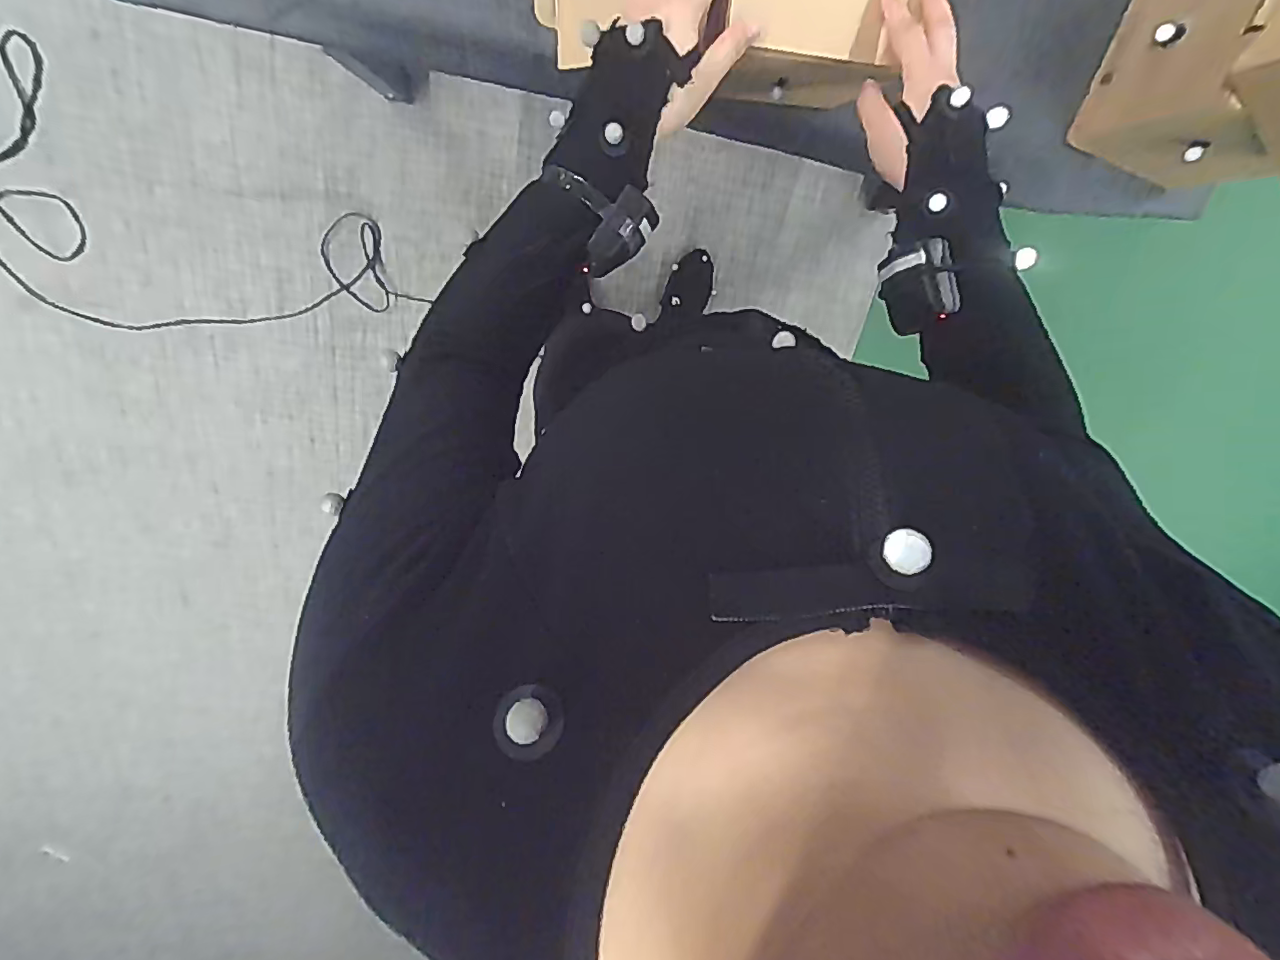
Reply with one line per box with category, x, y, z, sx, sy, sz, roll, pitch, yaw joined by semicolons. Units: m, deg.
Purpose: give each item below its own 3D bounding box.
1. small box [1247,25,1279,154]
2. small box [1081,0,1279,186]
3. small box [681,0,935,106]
small box;0.639;-0.342;0.405;0.179;0.176;0.168;33;103;-20
small box;0.615;-0.419;0.549;0.179;0.176;0.168;12;109;-13
small box;0.141;-0.443;0.472;0.179;0.176;0.168;1;116;-5
